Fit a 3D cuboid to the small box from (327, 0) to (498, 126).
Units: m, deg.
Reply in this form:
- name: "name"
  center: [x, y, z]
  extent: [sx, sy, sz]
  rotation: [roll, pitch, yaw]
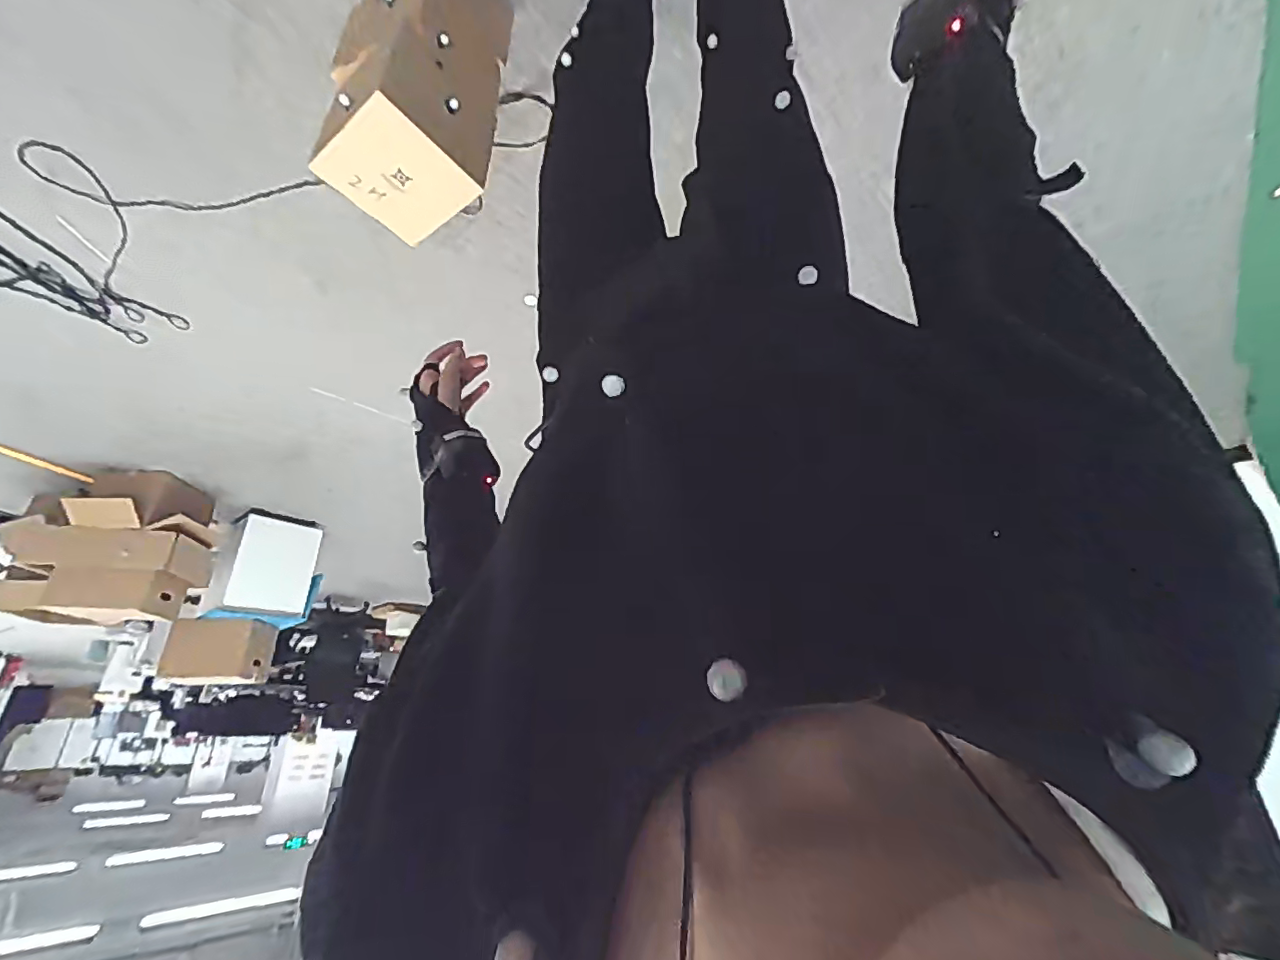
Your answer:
- name: "small box"
  center: [-0.345, -0.637, 0.856]
  extent: [0.168, 0.176, 0.179]
  rotation: [-9, 153, 20]

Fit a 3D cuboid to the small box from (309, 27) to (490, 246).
- name: "small box"
  center: [-0.336, -0.489, 0.782]
  extent: [0.179, 0.176, 0.168]
  rotation: [-16, 150, 31]

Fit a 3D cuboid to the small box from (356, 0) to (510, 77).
- name: "small box"
  center: [-0.342, -0.786, 0.918]
  extent: [0.168, 0.176, 0.179]
  rotation: [-12, 153, 24]
